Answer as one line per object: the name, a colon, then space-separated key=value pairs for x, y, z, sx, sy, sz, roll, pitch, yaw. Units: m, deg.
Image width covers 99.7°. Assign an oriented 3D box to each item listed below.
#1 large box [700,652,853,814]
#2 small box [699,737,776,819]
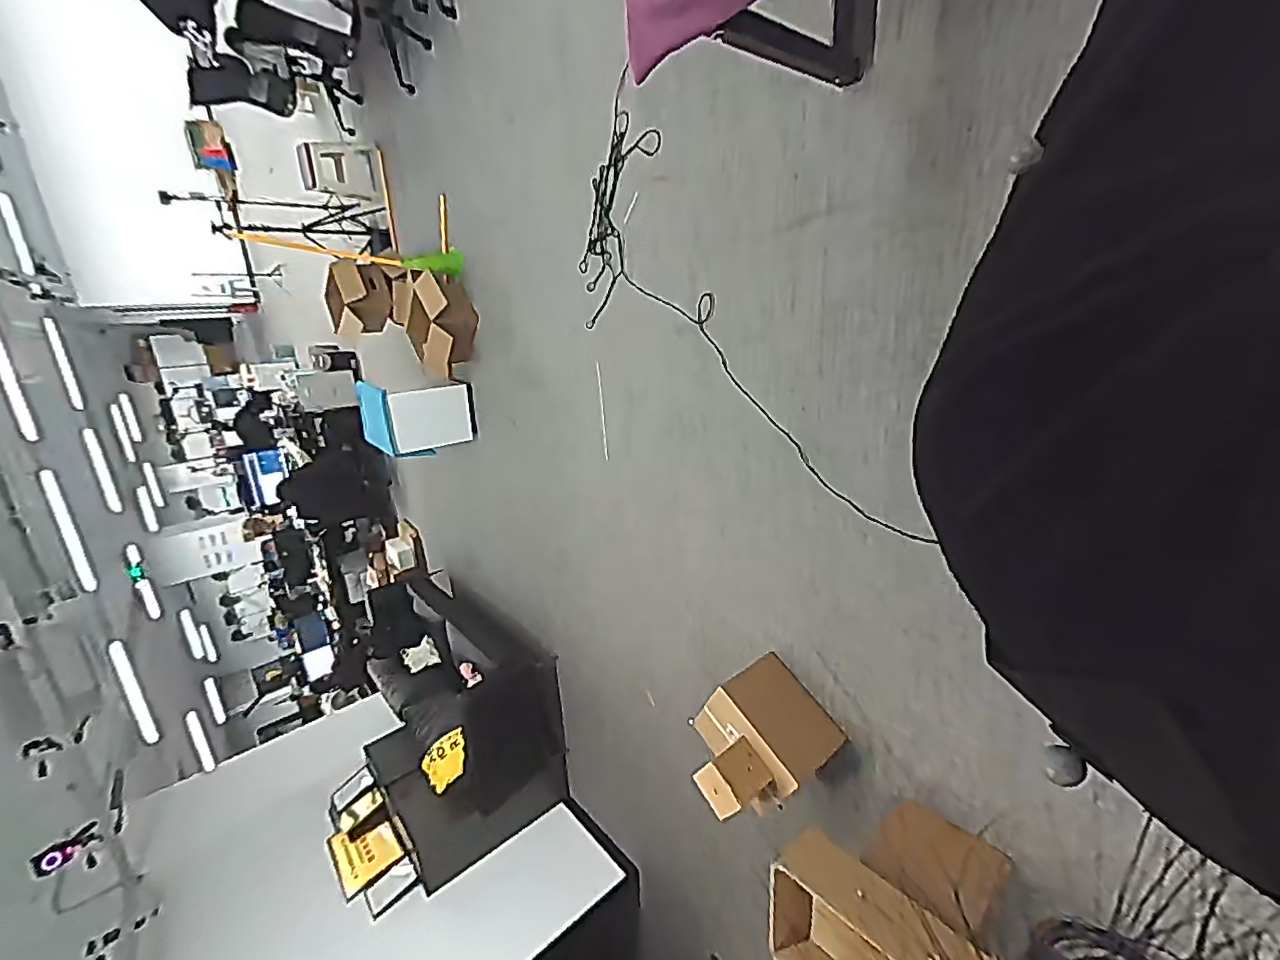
large box: x=0.506 y=0.944 z=2.048 sx=0.408 sy=0.320 sz=0.320 roll=48 pitch=137 yaw=32
small box: x=0.342 y=1.038 z=1.889 sx=0.168 sy=0.176 sz=0.179 roll=51 pitch=139 yaw=27
